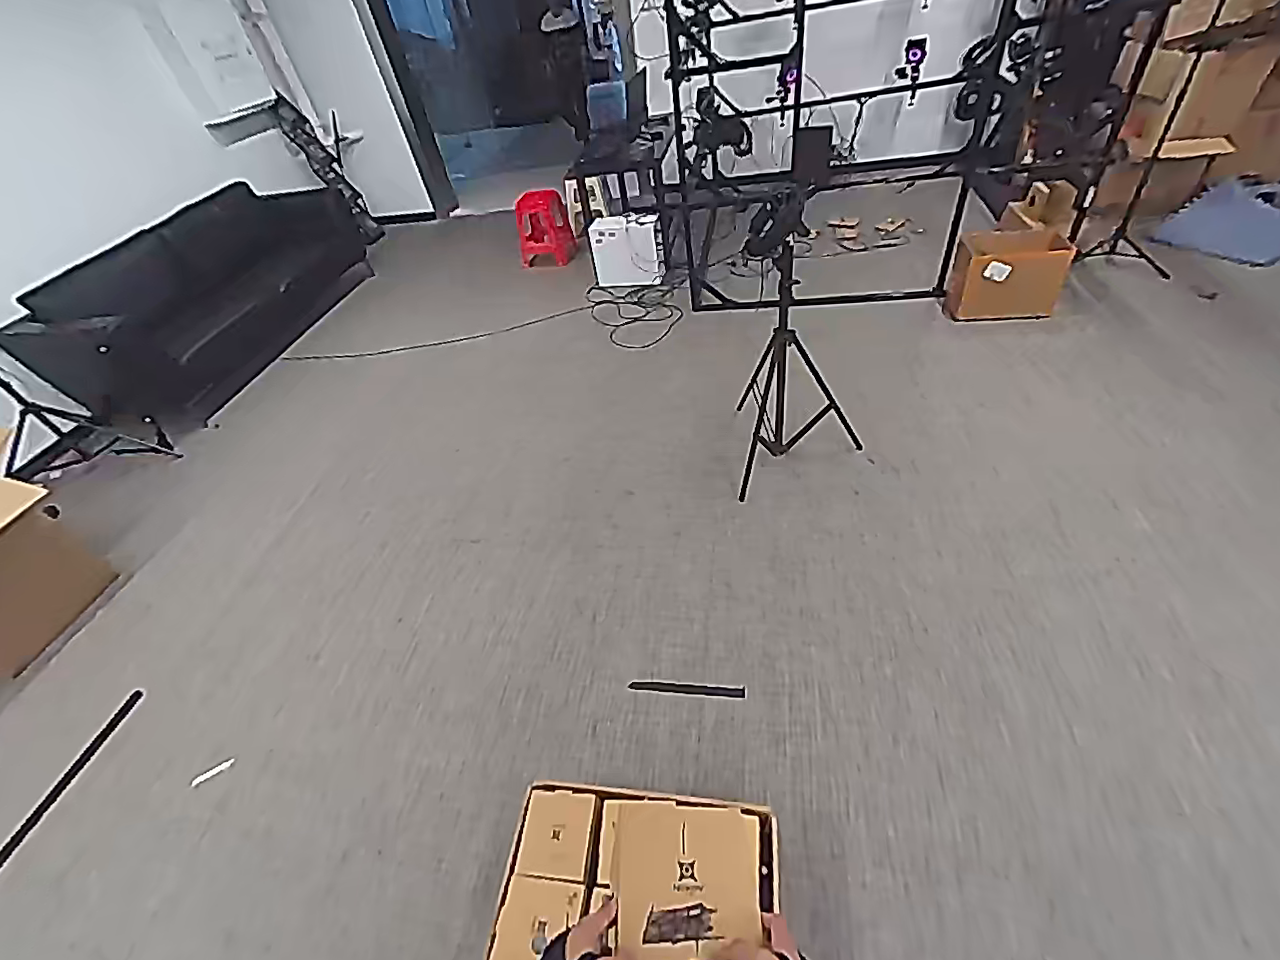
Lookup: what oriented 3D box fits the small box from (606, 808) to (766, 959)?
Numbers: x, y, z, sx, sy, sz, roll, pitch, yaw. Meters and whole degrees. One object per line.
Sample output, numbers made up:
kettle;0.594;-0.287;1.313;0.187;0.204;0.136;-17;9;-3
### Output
small box;0.047;0.543;0.669;0.168;0.176;0.179;4;27;-4
